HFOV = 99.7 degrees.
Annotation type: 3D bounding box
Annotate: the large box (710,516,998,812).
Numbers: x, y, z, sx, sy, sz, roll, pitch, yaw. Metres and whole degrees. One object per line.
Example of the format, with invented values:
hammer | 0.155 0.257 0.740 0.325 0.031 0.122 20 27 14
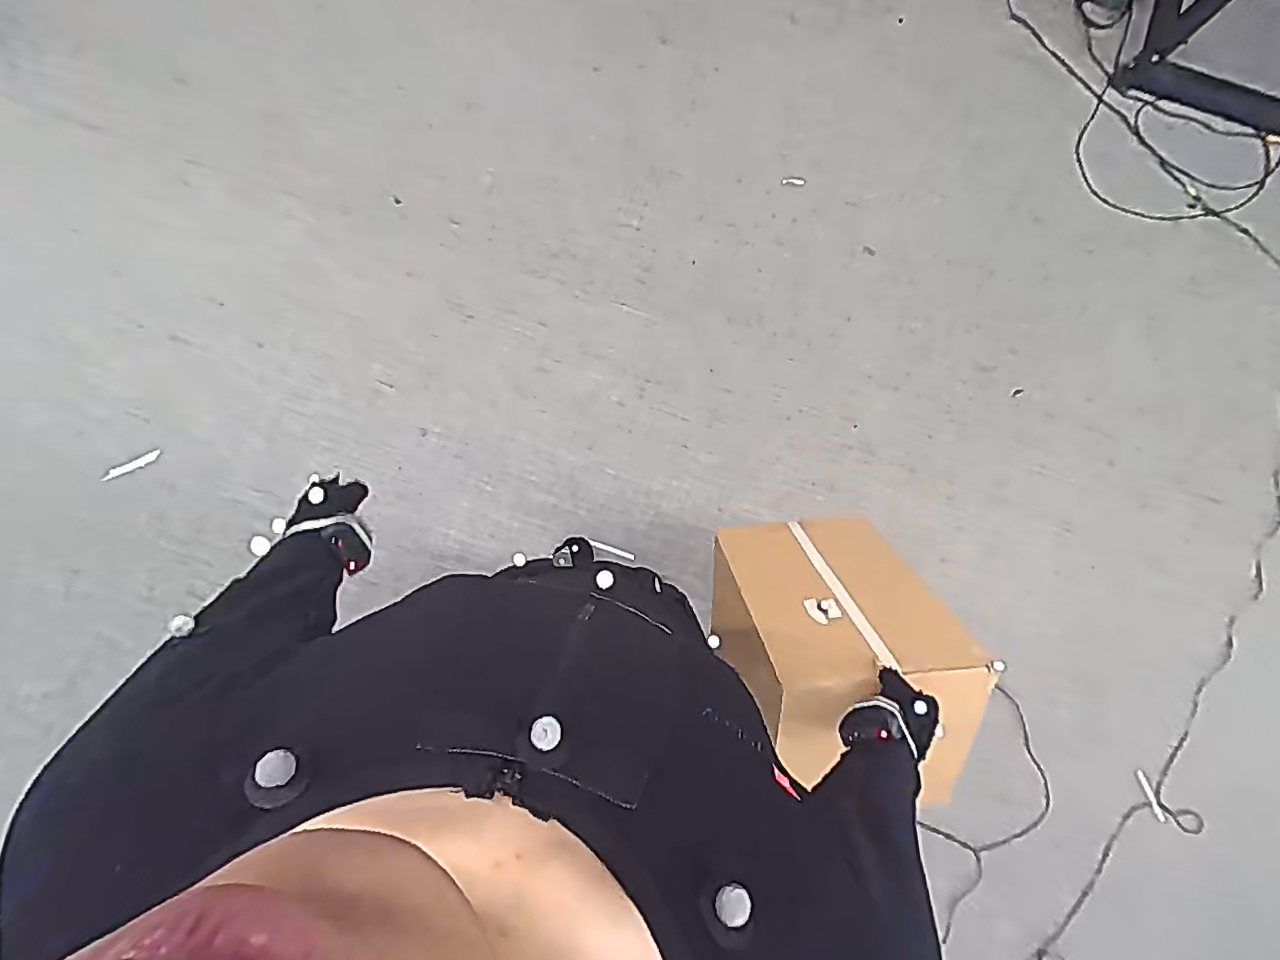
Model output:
large box | 0.327 0.302 0.980 0.320 0.408 0.320 -4 118 -4
